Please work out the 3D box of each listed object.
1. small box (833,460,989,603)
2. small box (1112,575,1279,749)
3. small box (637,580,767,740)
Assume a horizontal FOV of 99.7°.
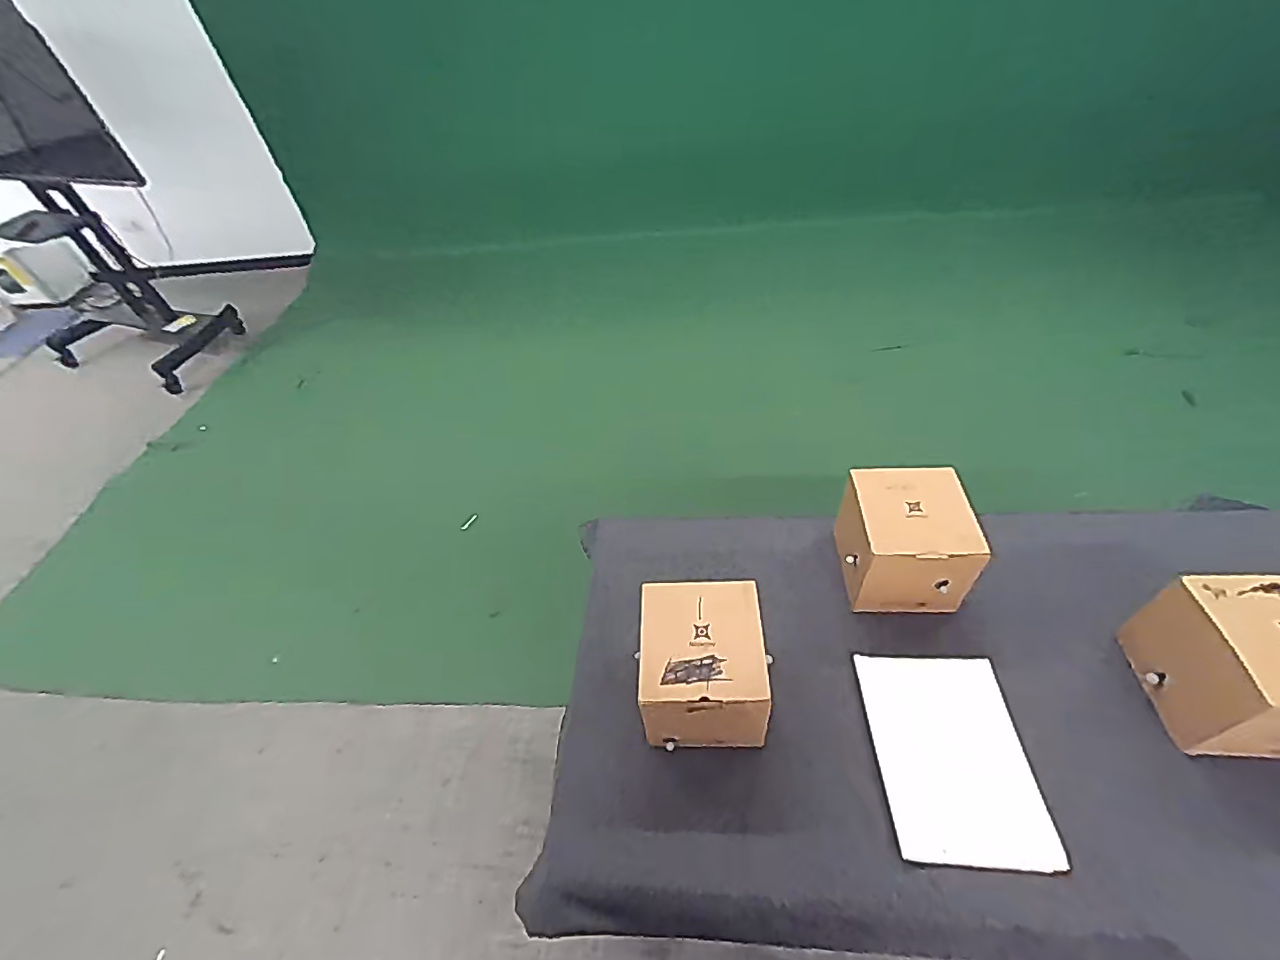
[{"bbox_3d":[0.426,0.088,0.884,0.168,0.176,0.179,-1,47,5],"label":"small box"},{"bbox_3d":[0.792,0.243,0.714,0.168,0.176,0.179,-1,49,6],"label":"small box"},{"bbox_3d":[0.089,0.264,0.785,0.168,0.176,0.179,-2,47,5],"label":"small box"}]
